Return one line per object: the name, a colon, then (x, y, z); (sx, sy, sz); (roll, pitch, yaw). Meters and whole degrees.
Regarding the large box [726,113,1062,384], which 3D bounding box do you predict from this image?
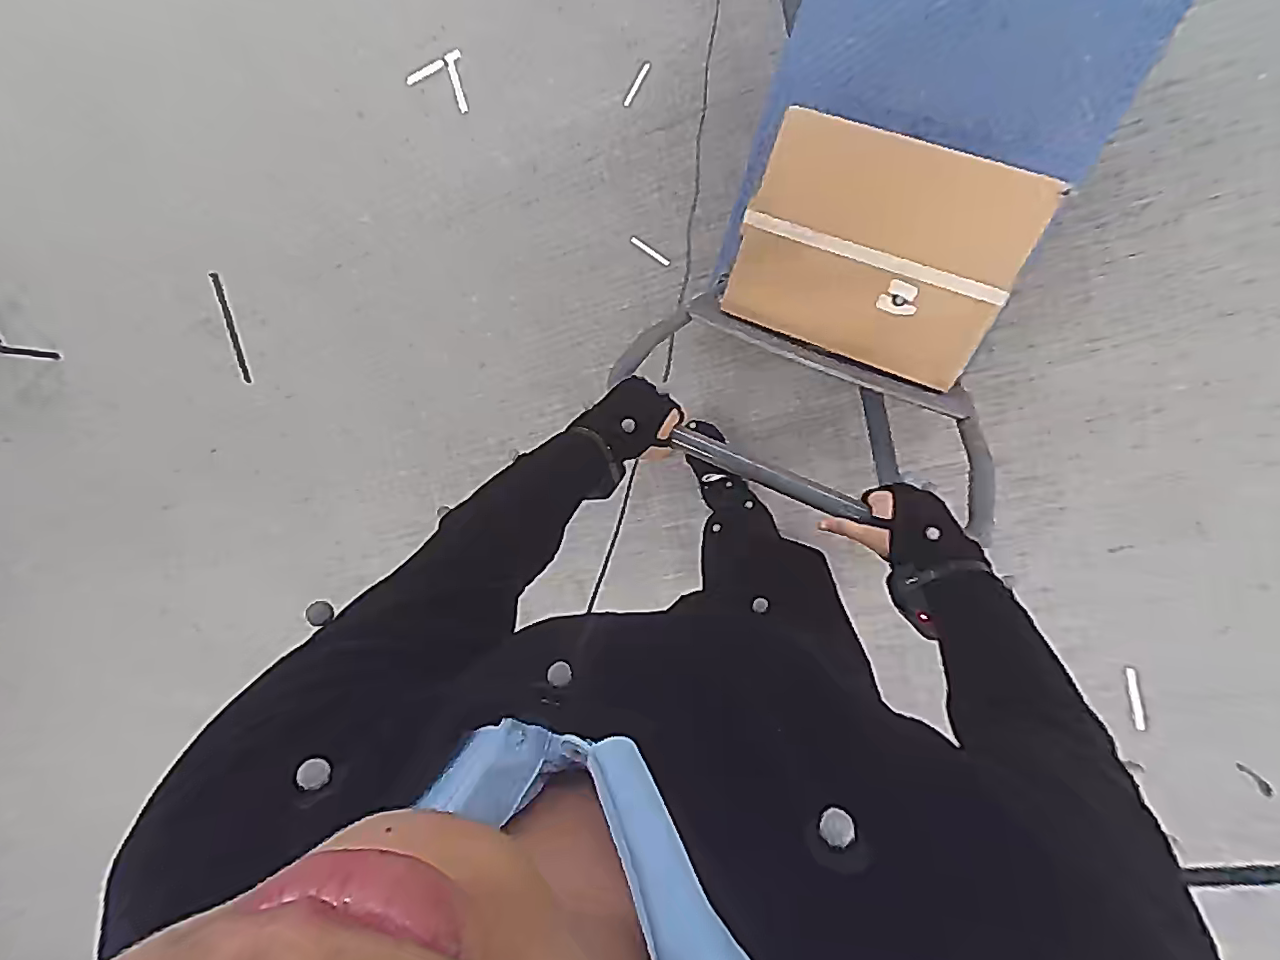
large box: (0.416, -0.415, 0.981); (0.408, 0.320, 0.320); (24, 121, 10)
